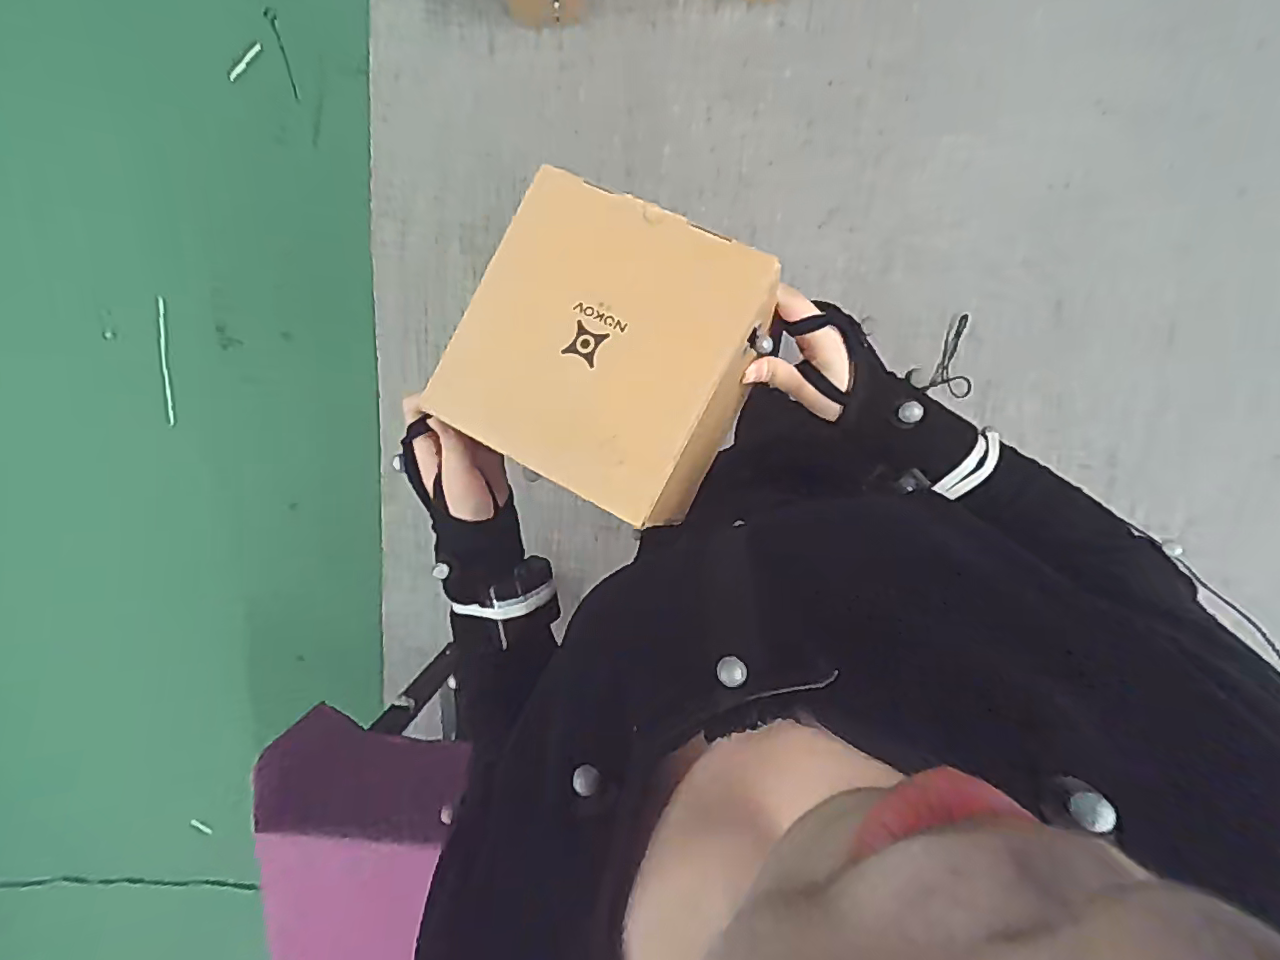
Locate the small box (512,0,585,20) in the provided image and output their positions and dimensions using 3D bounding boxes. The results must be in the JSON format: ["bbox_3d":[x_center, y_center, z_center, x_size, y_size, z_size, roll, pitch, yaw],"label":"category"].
[{"bbox_3d":[-0.219,-1.189,1.225,0.168,0.176,0.179,4,100,5],"label":"small box"}]

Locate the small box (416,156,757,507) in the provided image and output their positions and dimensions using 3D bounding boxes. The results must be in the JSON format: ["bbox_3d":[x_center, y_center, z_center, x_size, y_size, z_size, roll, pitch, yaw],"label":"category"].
[{"bbox_3d":[-0.022,-0.089,0.411,0.168,0.176,0.179,29,91,12],"label":"small box"}]
